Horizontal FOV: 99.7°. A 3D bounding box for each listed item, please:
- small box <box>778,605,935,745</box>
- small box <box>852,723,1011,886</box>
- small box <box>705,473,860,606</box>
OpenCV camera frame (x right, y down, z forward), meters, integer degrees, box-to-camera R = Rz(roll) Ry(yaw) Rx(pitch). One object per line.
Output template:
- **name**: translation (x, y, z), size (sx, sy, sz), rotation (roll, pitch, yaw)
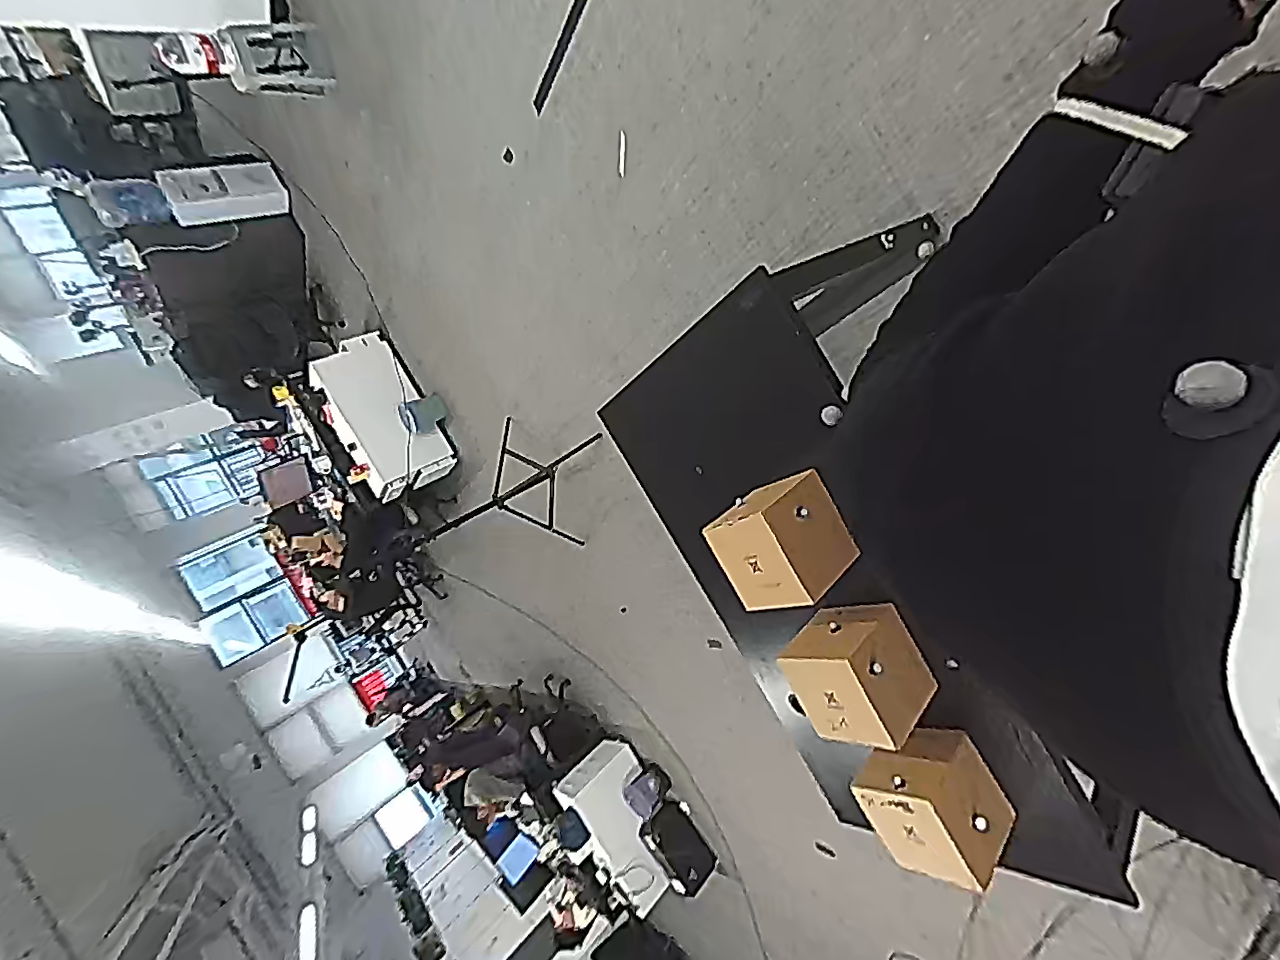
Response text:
- **small box**: translation (0.394, 0.341, 0.985), size (0.179, 0.176, 0.168), rotation (60, 146, -2)
- **small box**: translation (0.535, 0.576, 0.989), size (0.179, 0.176, 0.168), rotation (58, 146, 1)
- **small box**: translation (0.258, 0.104, 0.978), size (0.179, 0.176, 0.168), rotation (59, 147, -2)
